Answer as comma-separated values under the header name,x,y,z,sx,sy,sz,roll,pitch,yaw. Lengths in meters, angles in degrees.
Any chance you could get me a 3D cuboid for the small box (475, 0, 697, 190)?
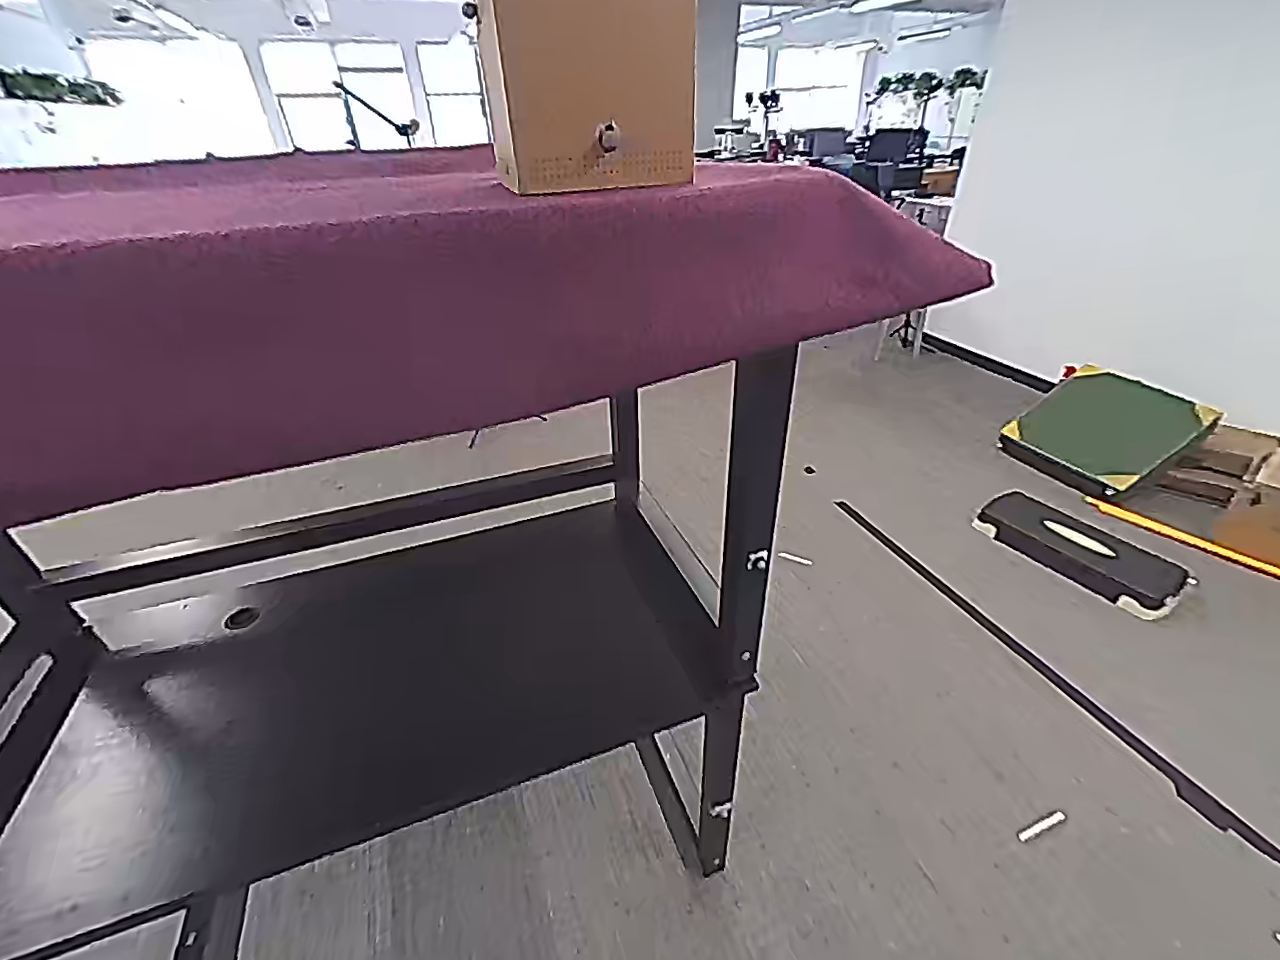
name,x,y,z,sx,sy,sz,roll,pitch,yaw
small box,-0.056,-0.390,0.529,0.179,0.176,0.168,-12,34,-14
